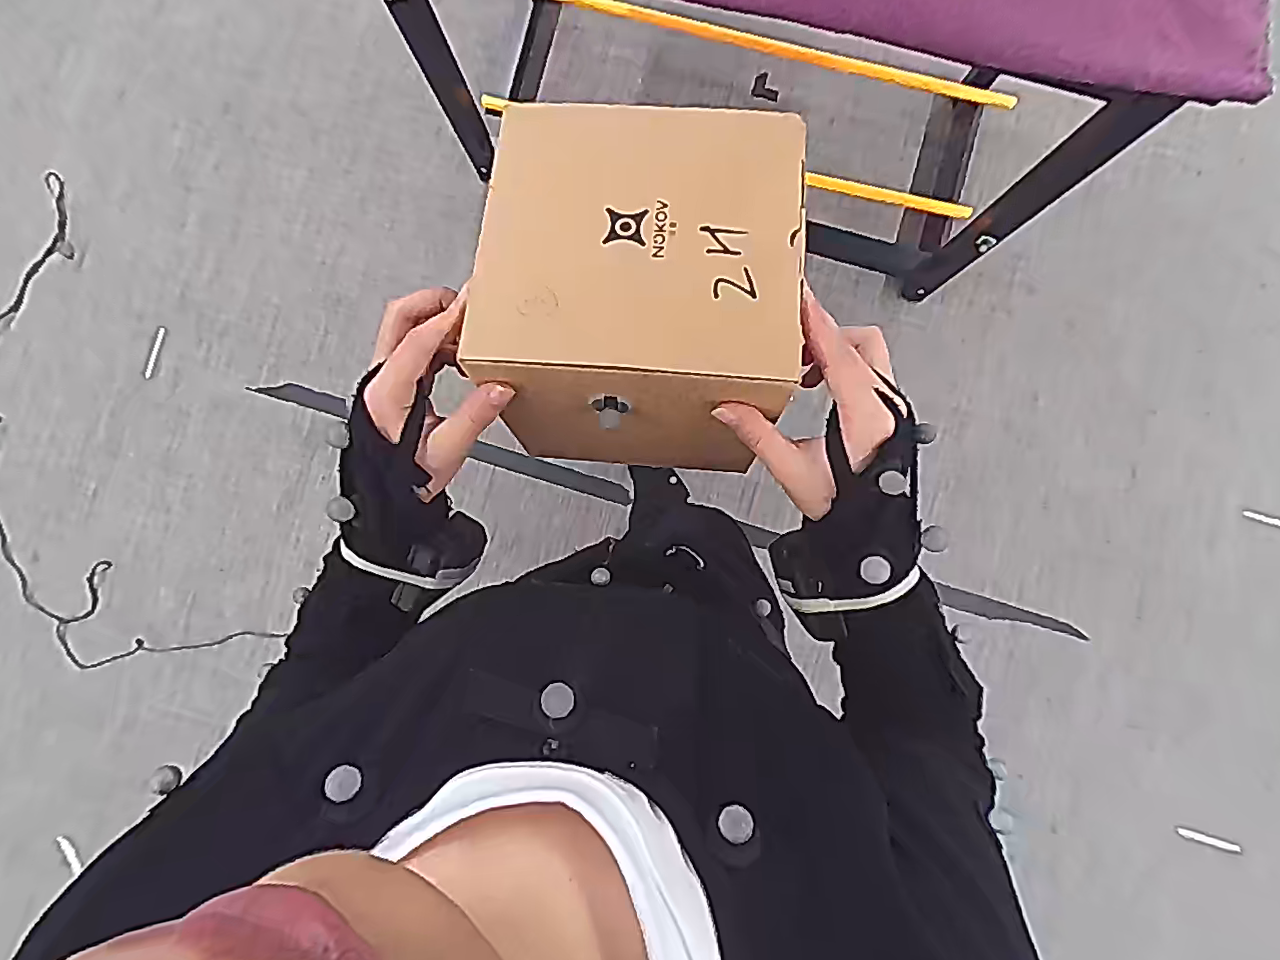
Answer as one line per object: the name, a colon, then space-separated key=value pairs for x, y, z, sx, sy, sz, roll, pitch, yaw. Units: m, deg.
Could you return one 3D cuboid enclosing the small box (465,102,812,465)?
small box: x=0.007 y=-0.114 z=0.366 sx=0.179 sy=0.176 sz=0.168 roll=4 pitch=76 yaw=3
